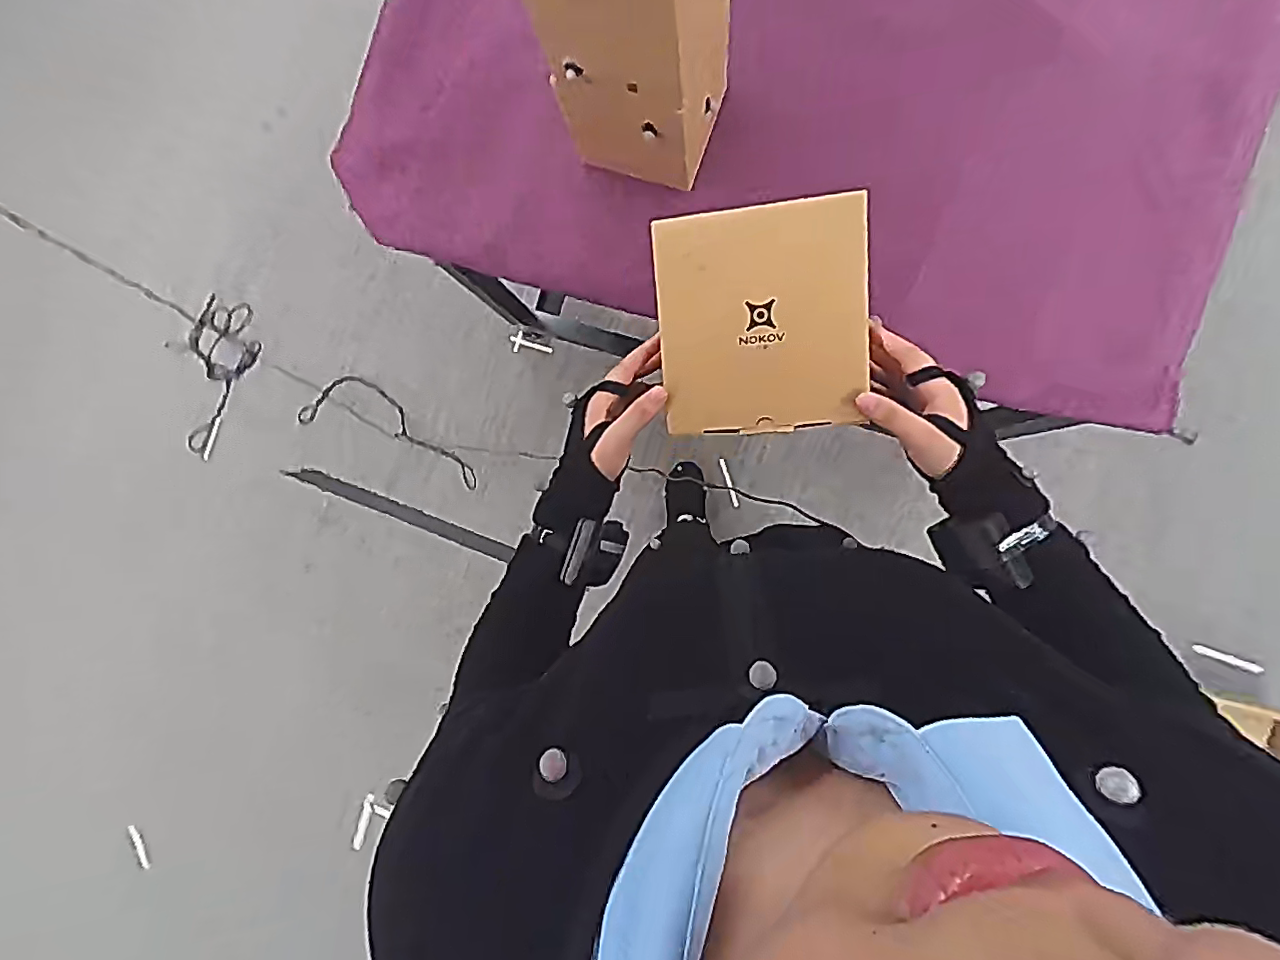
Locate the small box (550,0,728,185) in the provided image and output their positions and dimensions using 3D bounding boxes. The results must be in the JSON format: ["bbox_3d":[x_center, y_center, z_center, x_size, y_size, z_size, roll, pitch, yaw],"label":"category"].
[{"bbox_3d":[0.009,-0.527,0.718,0.179,0.176,0.168,19,91,8],"label":"small box"}]

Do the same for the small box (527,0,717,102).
[{"bbox_3d":[-0.012,-0.538,0.555,0.168,0.176,0.179,18,91,8],"label":"small box"}]
